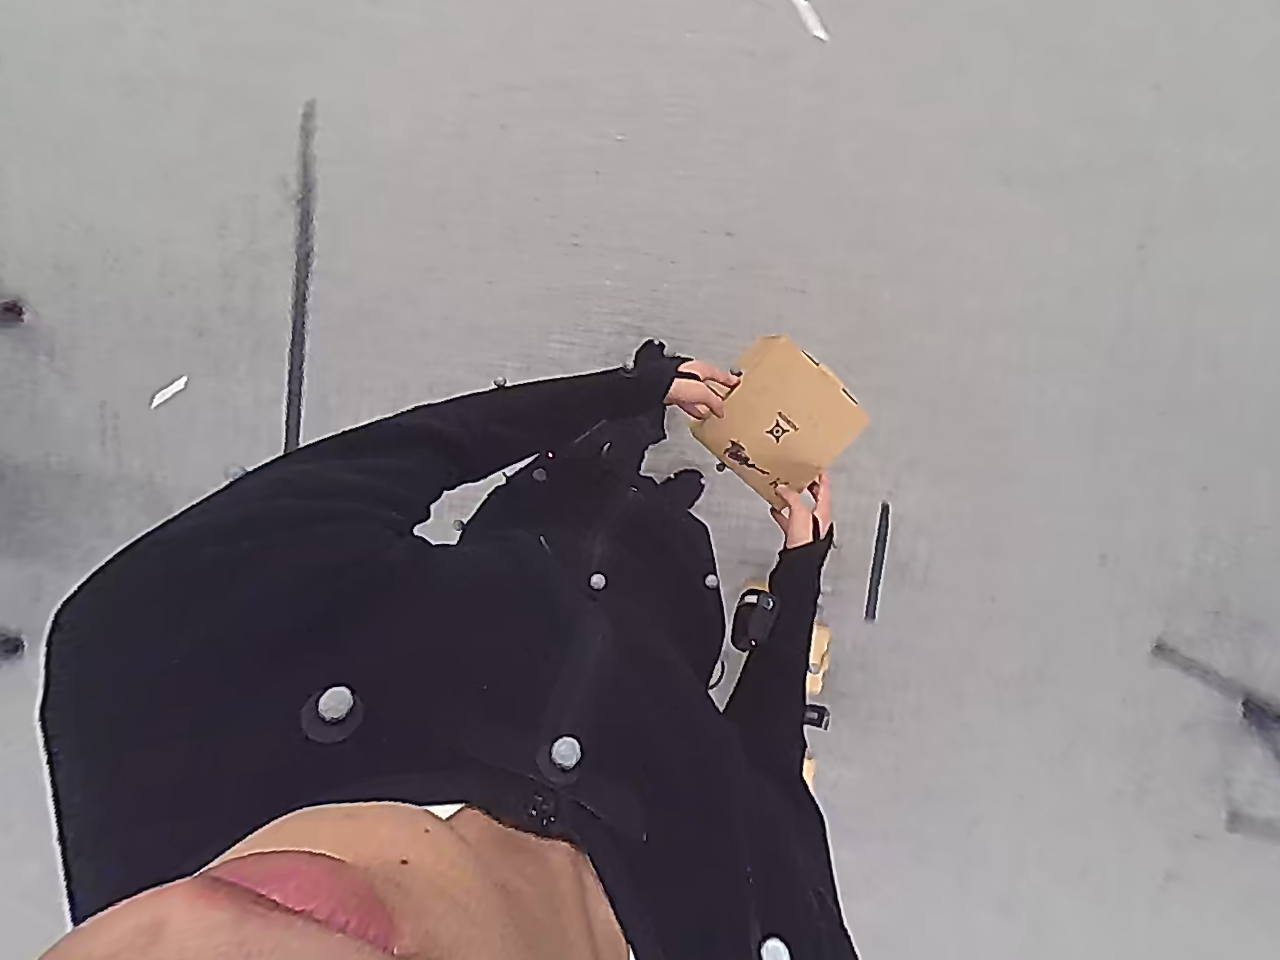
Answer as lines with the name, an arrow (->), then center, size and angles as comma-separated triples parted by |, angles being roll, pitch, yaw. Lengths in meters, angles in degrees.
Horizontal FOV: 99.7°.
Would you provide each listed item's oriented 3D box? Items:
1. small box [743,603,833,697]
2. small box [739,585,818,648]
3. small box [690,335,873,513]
small box -> 0.372, 0.429, 1.390 | 0.179, 0.176, 0.168 | 8, 96, 3
small box -> 0.390, 0.411, 1.552 | 0.179, 0.176, 0.168 | 8, 96, 3
small box -> 0.185, -0.087, 0.776 | 0.168, 0.176, 0.179 | 39, 101, -8
